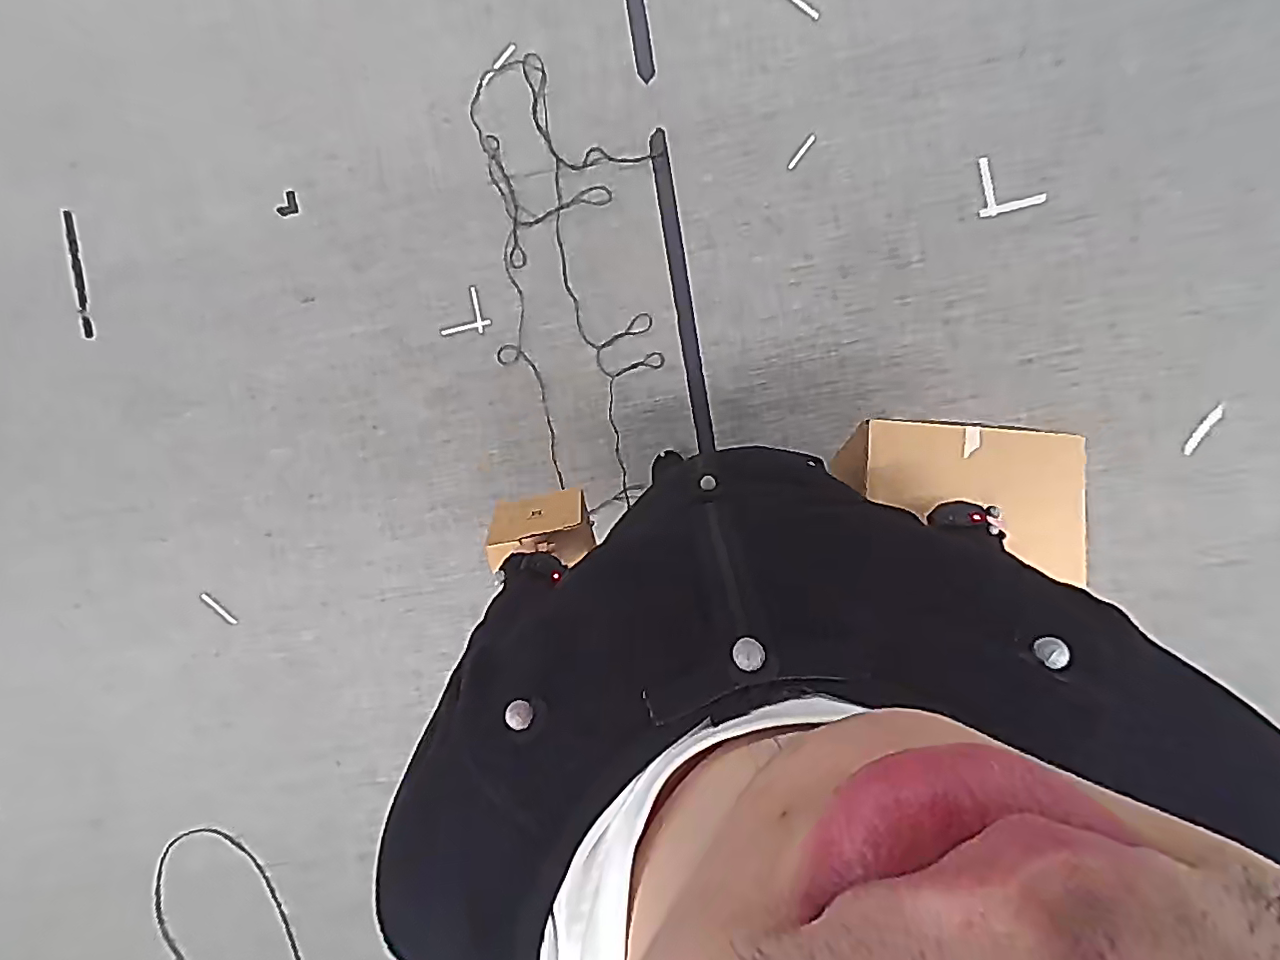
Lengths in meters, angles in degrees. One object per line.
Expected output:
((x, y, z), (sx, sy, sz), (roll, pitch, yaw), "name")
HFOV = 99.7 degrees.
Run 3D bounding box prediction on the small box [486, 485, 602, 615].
((-0.169, 0.133, 1.005), (0.168, 0.179, 0.176), (-13, 111, -1), "small box")
